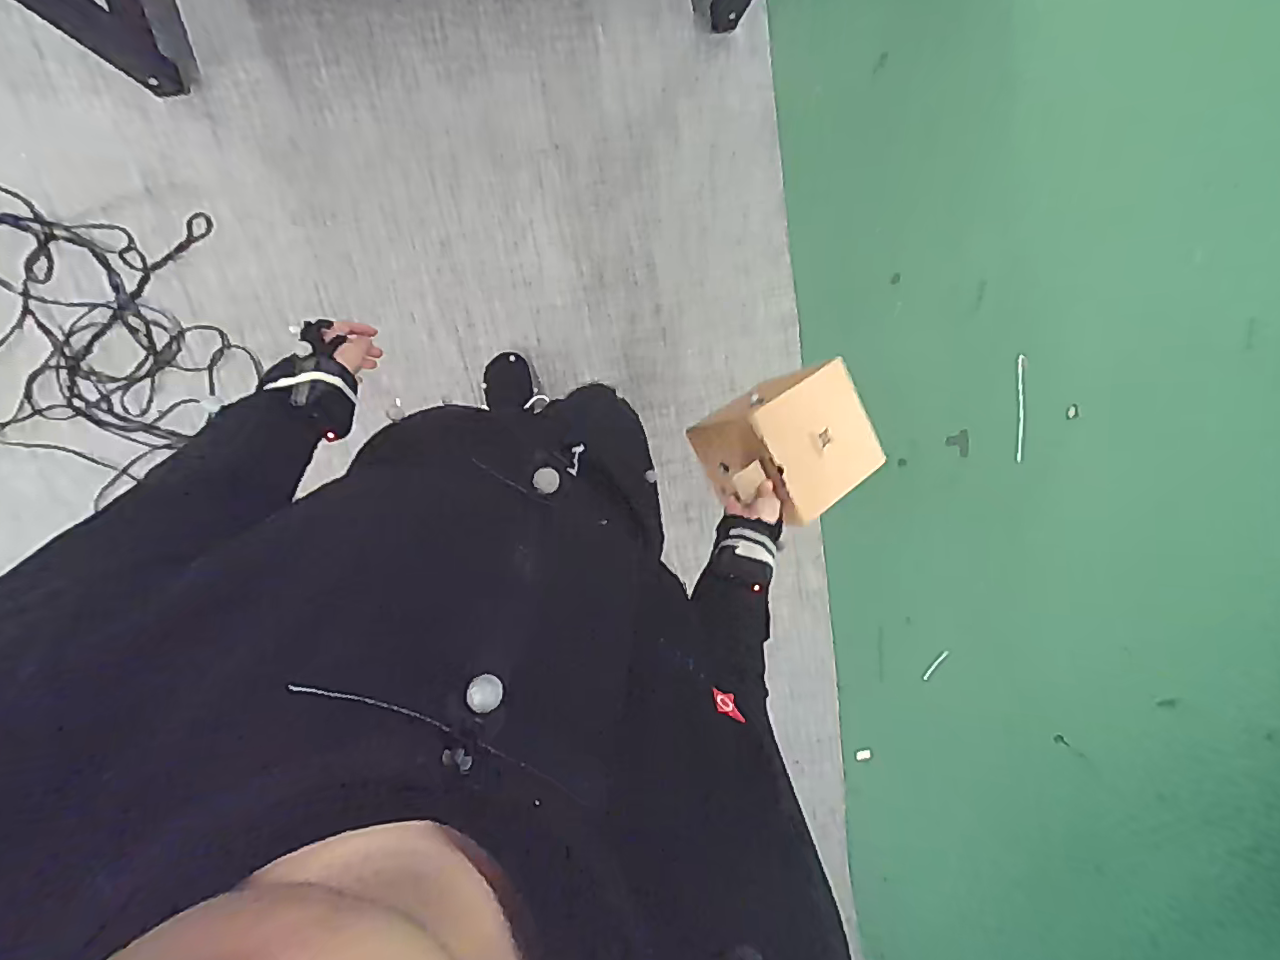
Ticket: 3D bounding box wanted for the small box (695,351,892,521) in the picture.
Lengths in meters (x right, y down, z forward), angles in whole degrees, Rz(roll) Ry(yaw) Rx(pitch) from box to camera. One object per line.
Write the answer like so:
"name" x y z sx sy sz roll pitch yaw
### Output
"small box" 0.211 -0.059 0.768 0.179 0.176 0.168 -34 103 -21
